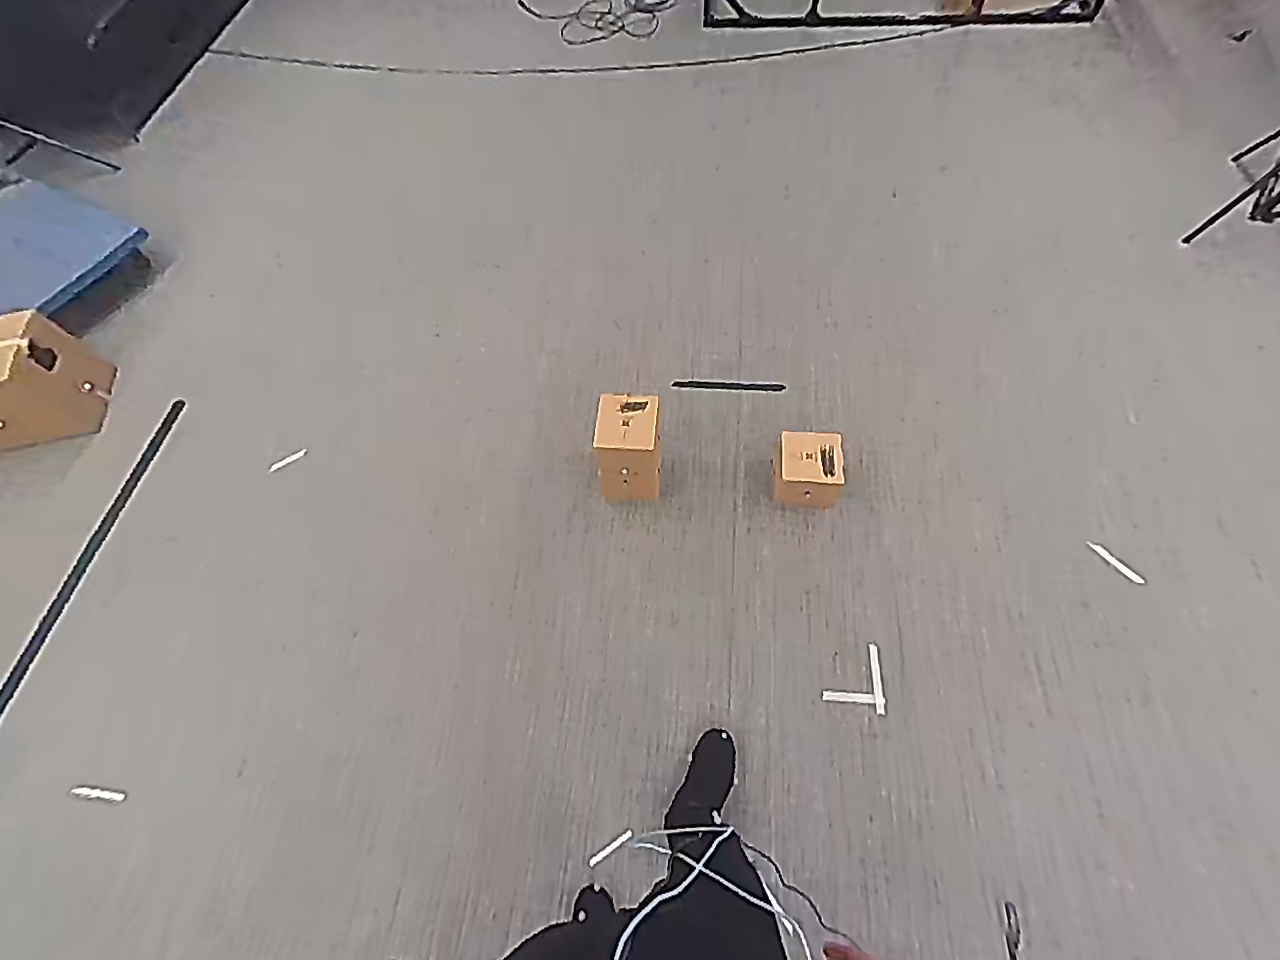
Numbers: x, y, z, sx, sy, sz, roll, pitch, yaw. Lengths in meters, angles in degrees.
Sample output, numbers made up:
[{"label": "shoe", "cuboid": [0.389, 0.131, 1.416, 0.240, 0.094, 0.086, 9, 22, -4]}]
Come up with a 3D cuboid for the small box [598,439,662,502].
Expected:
[{"label": "small box", "cuboid": [-0.026, -0.040, 1.684, 0.179, 0.176, 0.168, 3, 64, 6]}]

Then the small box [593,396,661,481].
[{"label": "small box", "cuboid": [-0.030, -0.117, 1.539, 0.168, 0.176, 0.179, 3, 64, 6]}]
